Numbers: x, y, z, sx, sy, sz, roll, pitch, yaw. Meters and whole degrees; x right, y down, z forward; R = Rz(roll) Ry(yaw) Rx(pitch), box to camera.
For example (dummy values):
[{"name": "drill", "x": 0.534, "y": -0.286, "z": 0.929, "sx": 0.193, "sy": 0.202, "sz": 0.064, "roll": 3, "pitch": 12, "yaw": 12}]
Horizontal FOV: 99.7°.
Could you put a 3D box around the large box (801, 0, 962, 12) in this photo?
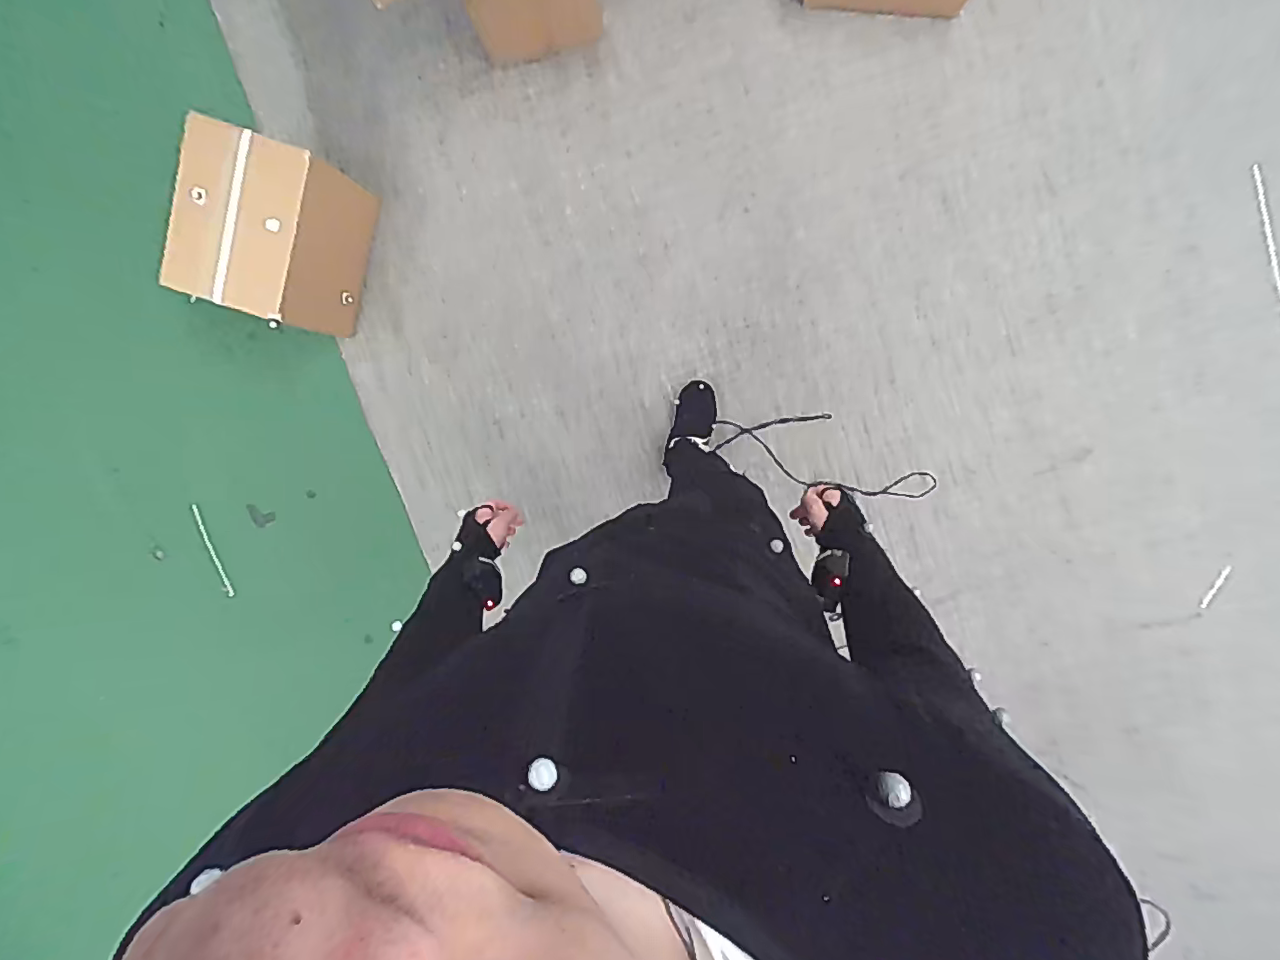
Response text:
[{"name": "large box", "x": 0.620, "y": -1.350, "z": 1.239, "sx": 0.408, "sy": 0.320, "sz": 0.320, "roll": 5, "pitch": 98, "yaw": 3}]
